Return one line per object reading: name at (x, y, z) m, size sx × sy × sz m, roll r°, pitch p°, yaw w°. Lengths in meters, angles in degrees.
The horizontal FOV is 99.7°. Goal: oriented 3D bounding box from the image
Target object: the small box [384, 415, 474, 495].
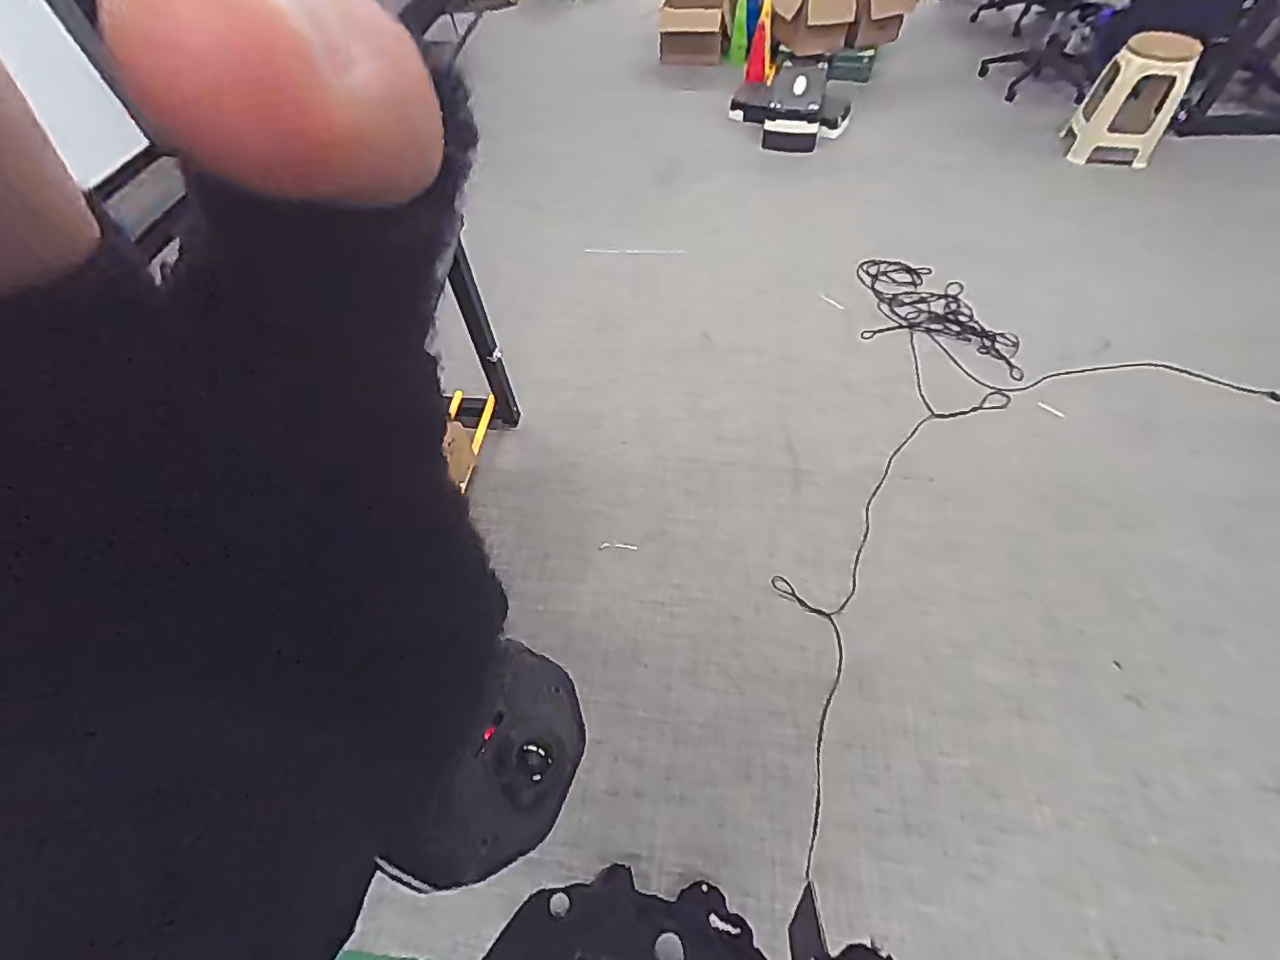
small box at (-0.620, -0.071, 1.621) m, size 0.179 × 0.176 × 0.168 m, roll 7°, pitch 56°, yaw 8°
